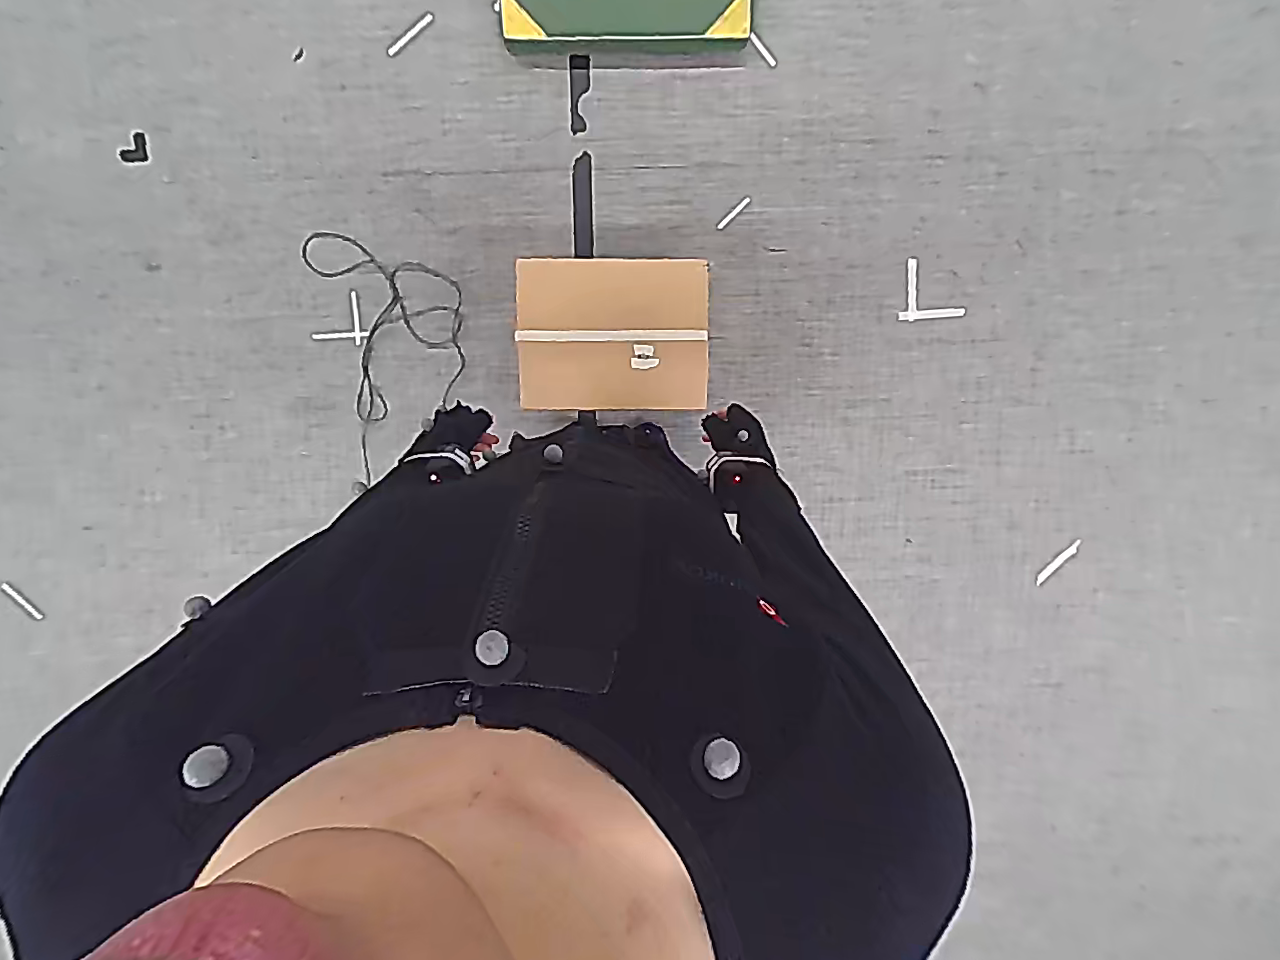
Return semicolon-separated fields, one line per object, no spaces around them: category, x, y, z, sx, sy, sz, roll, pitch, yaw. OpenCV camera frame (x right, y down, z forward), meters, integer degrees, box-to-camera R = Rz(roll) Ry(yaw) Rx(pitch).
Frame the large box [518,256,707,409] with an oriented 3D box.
large box;-0.061;-0.334;1.303;0.408;0.320;0.320;-1;98;-1
